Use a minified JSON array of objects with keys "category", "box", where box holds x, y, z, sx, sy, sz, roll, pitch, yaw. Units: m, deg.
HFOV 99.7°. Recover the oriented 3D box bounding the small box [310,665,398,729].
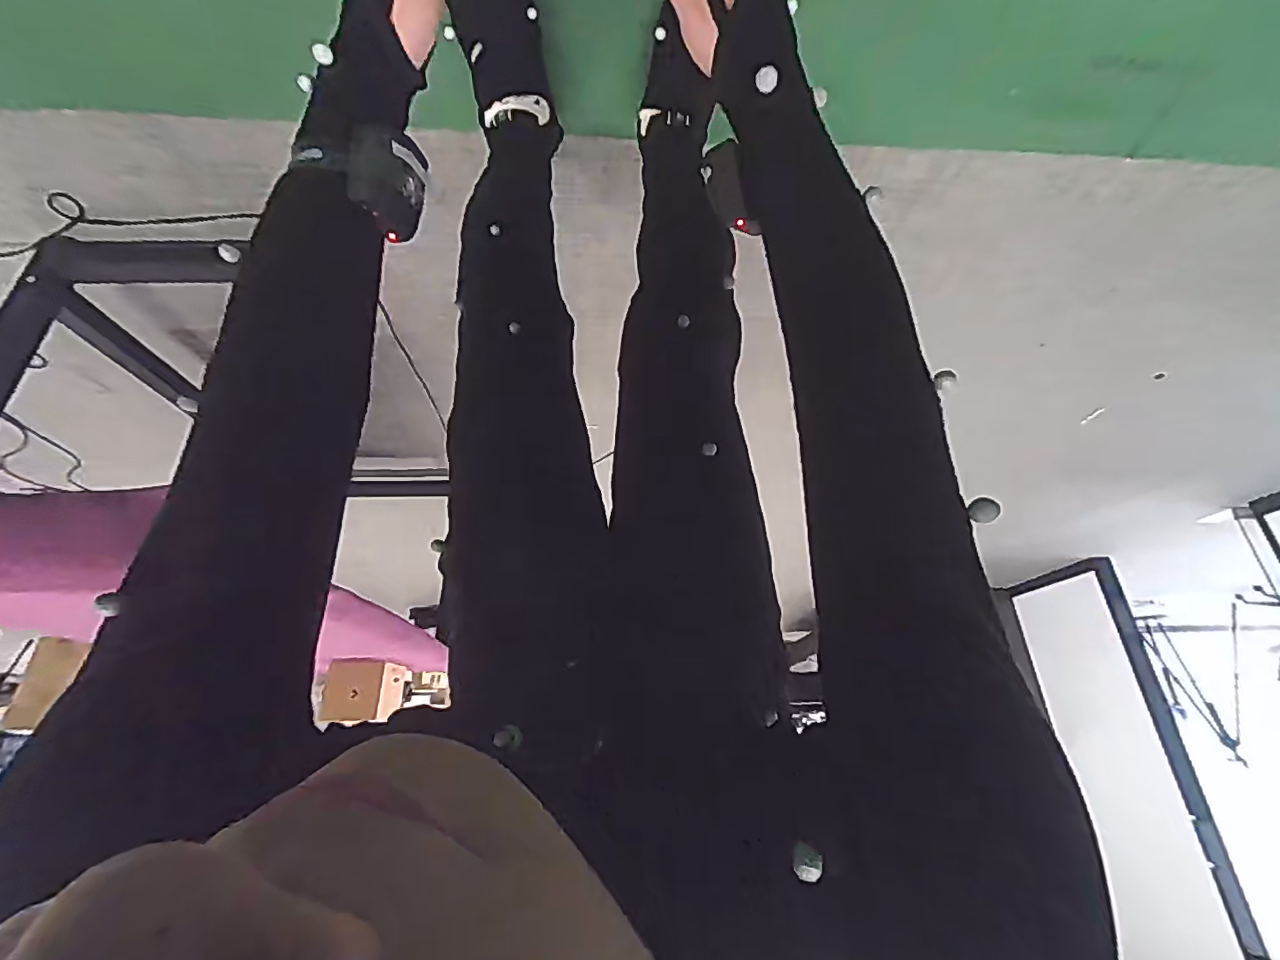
[{"category":"small box","box":[-0.867,0.667,1.658,0.179,0.176,0.168,-2,155,-2]}]
